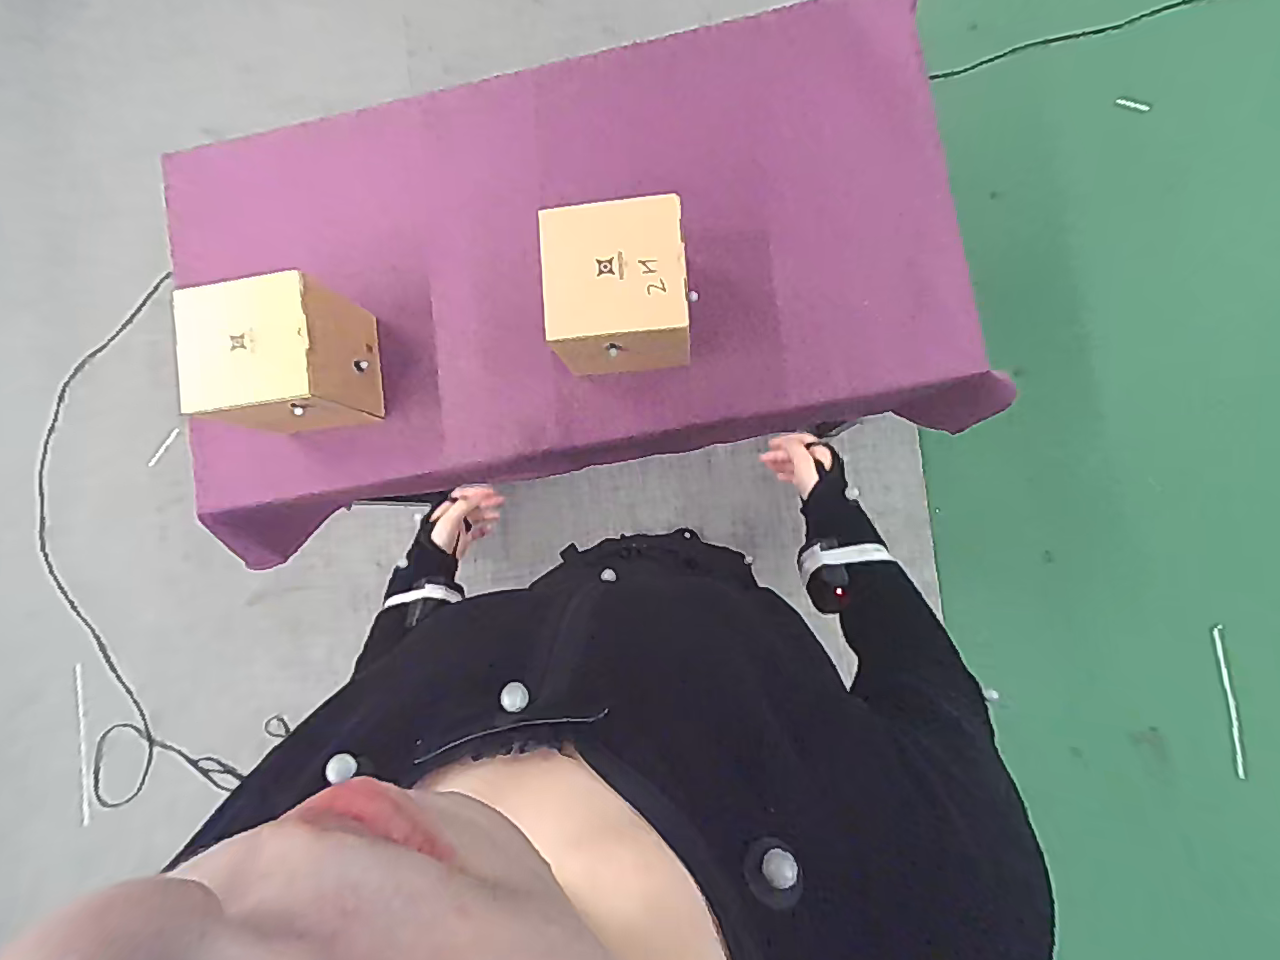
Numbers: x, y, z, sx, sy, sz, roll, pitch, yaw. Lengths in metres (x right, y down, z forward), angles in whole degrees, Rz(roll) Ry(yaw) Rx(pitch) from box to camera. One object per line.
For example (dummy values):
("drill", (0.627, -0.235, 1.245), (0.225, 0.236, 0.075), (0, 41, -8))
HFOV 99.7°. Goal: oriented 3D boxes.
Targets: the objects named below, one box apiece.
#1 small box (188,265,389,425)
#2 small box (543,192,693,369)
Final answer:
("small box", (-0.491, -0.180, 0.774), (0.179, 0.176, 0.168), (-7, 86, 5))
("small box", (-0.021, -0.253, 0.727), (0.179, 0.176, 0.168), (-3, 87, 6))
